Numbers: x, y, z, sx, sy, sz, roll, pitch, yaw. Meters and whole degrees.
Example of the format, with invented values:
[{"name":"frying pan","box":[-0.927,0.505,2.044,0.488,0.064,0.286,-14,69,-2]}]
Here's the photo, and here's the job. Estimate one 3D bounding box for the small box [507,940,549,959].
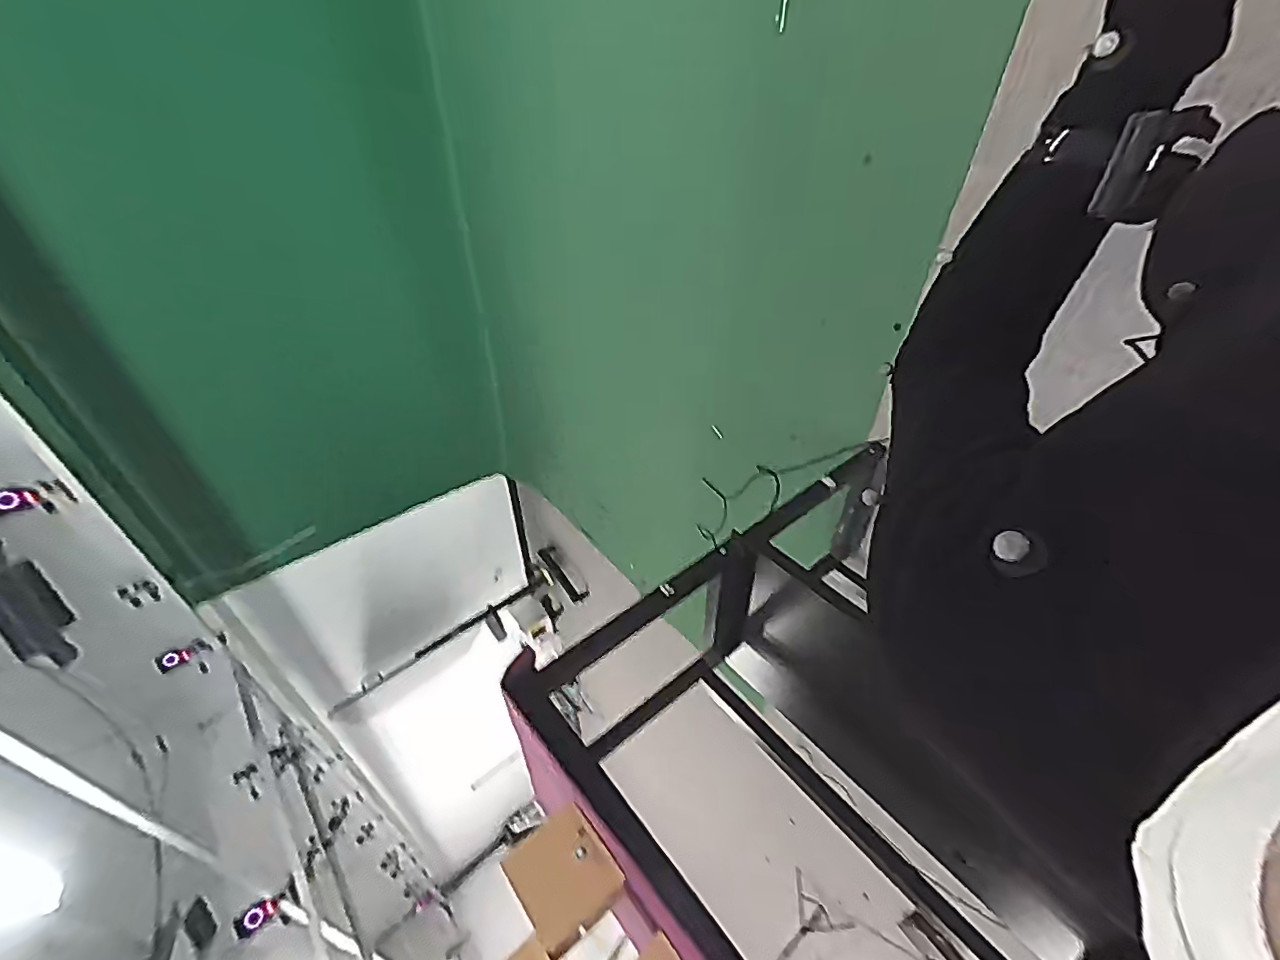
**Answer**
[{"name":"small box","box":[-0.188,0.891,0.867,0.168,0.176,0.179,38,144,34]}]
